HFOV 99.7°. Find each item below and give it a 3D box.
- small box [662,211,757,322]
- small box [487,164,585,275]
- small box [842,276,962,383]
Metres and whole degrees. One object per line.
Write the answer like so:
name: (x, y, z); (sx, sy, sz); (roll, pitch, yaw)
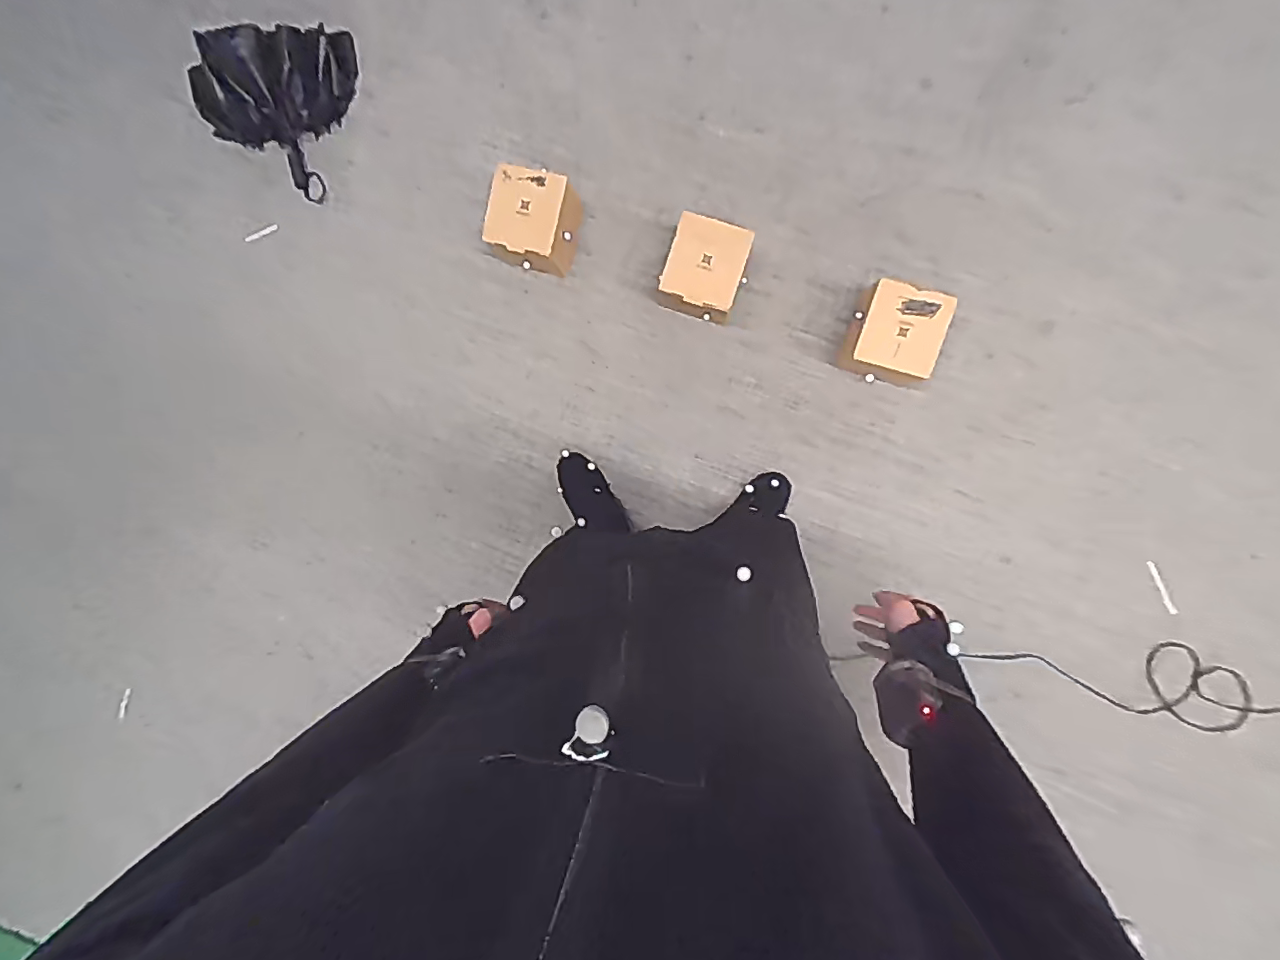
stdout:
small box: (0.158, -0.479, 1.241); (0.168, 0.176, 0.179); (18, 96, 3)
small box: (-0.238, -0.602, 1.274); (0.168, 0.176, 0.179); (14, 97, 5)
small box: (0.570, -0.326, 1.203); (0.168, 0.176, 0.179); (17, 97, 6)
